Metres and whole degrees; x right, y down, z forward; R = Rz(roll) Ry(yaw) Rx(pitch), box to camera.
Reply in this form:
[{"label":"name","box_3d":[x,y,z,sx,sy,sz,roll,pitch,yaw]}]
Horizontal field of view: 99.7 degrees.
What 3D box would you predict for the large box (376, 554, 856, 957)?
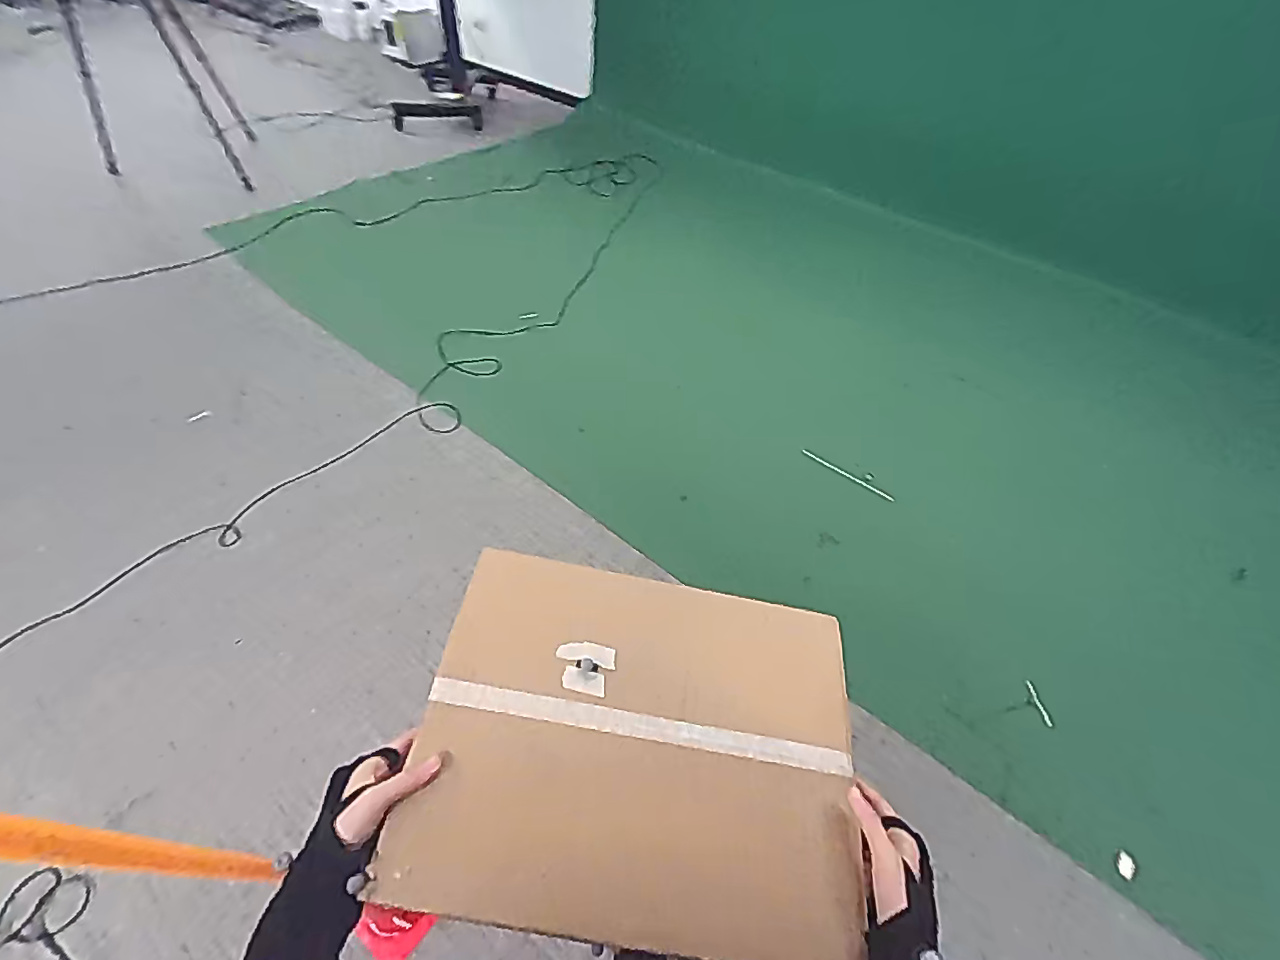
[{"label":"large box","box_3d":[-0.017,0.323,0.644,0.408,0.320,0.320,11,52,-2]}]
